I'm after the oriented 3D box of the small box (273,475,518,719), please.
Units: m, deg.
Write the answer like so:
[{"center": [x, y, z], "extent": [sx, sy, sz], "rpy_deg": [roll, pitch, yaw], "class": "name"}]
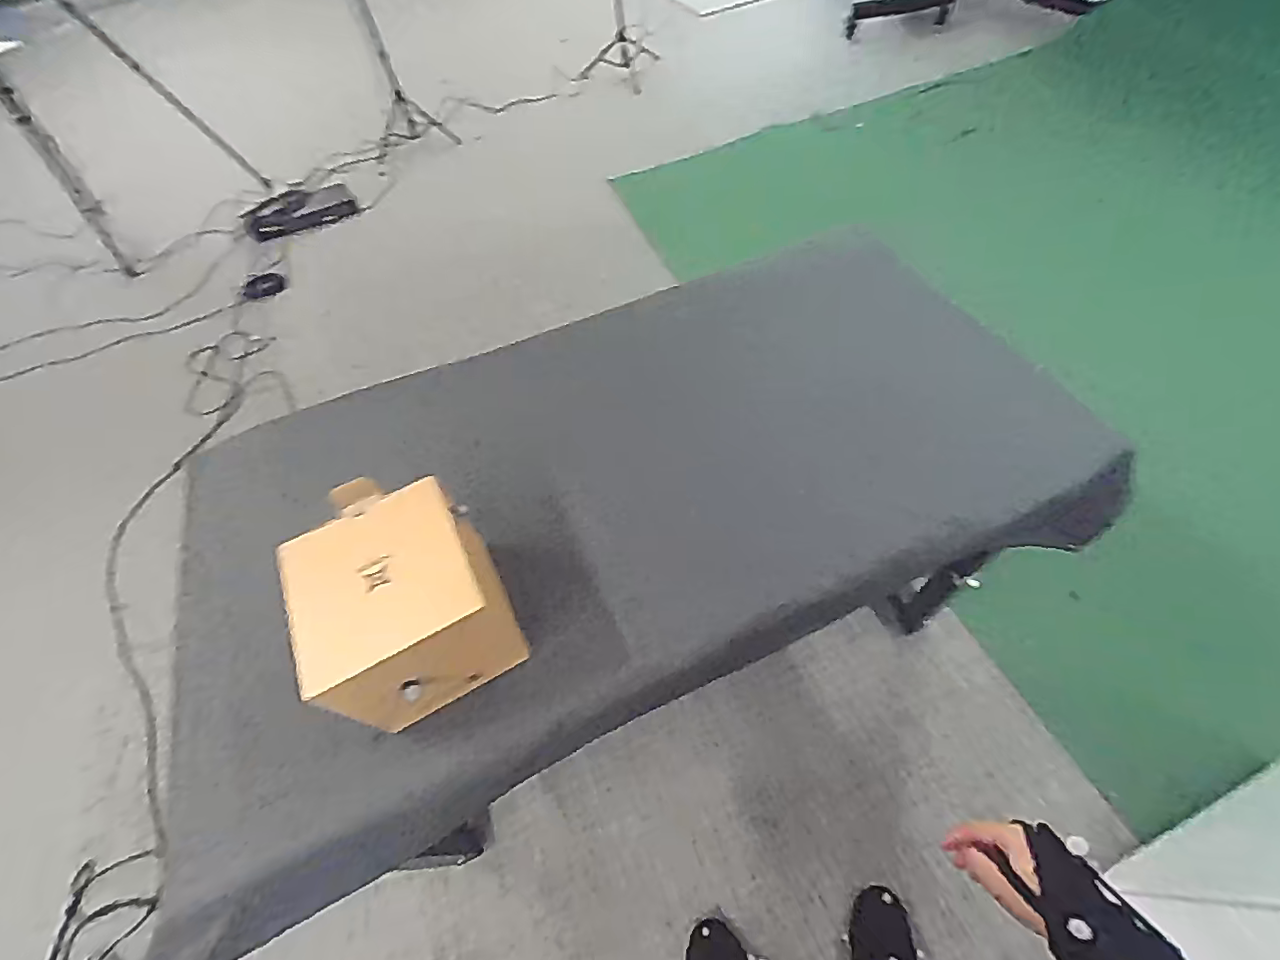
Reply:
[{"center": [-0.250, 0.133, 0.579], "extent": [0.168, 0.176, 0.179], "rpy_deg": [-27, 57, -13], "class": "small box"}]
